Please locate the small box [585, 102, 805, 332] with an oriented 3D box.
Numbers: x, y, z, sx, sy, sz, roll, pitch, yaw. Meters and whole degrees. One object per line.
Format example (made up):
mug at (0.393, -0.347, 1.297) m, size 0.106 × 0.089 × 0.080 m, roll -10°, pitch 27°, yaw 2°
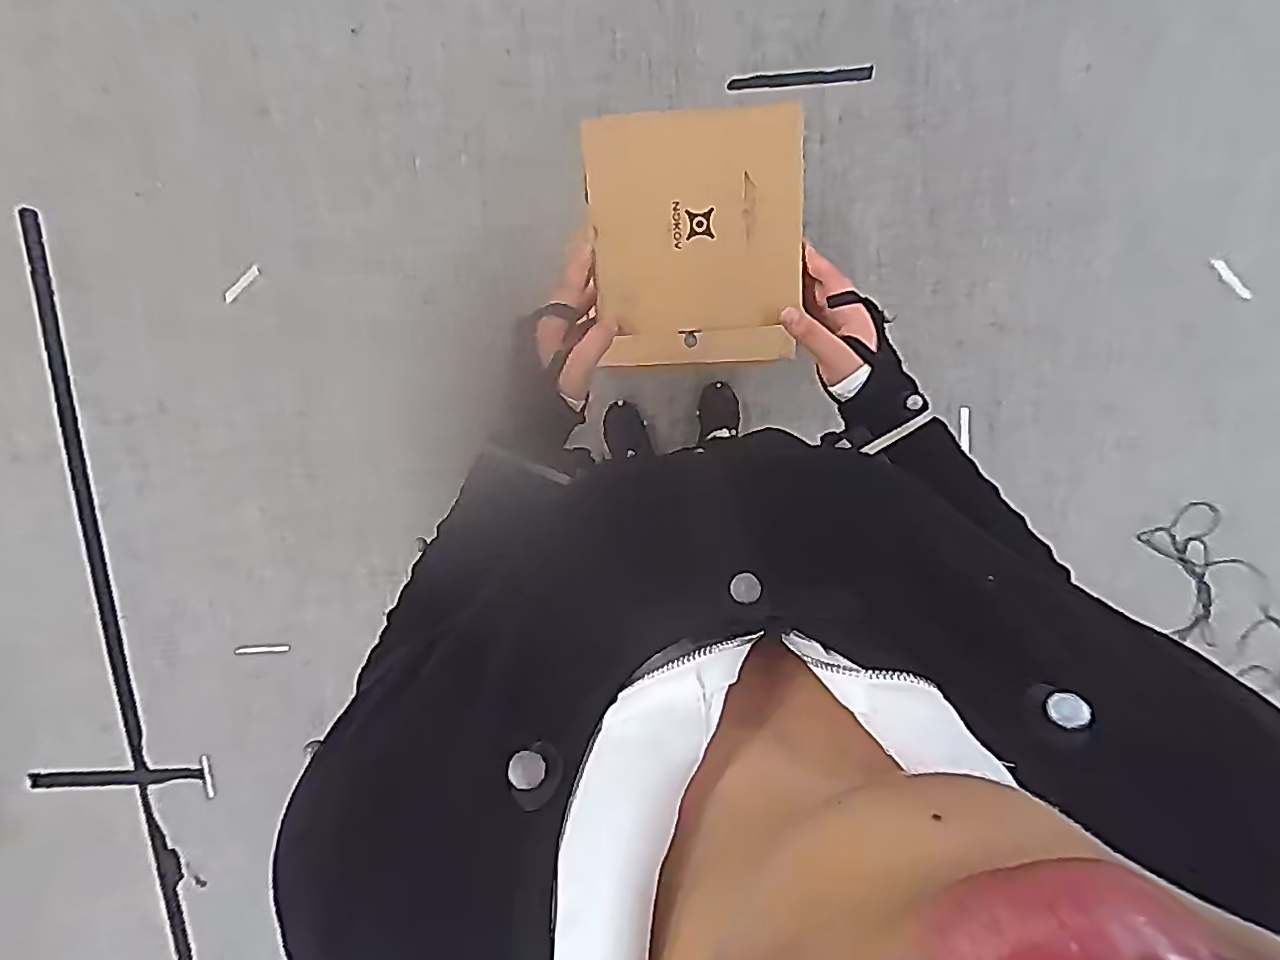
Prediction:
small box at (0.048, -0.234, 0.523) m, size 0.179 × 0.176 × 0.168 m, roll -5°, pitch 106°, yaw 0°
